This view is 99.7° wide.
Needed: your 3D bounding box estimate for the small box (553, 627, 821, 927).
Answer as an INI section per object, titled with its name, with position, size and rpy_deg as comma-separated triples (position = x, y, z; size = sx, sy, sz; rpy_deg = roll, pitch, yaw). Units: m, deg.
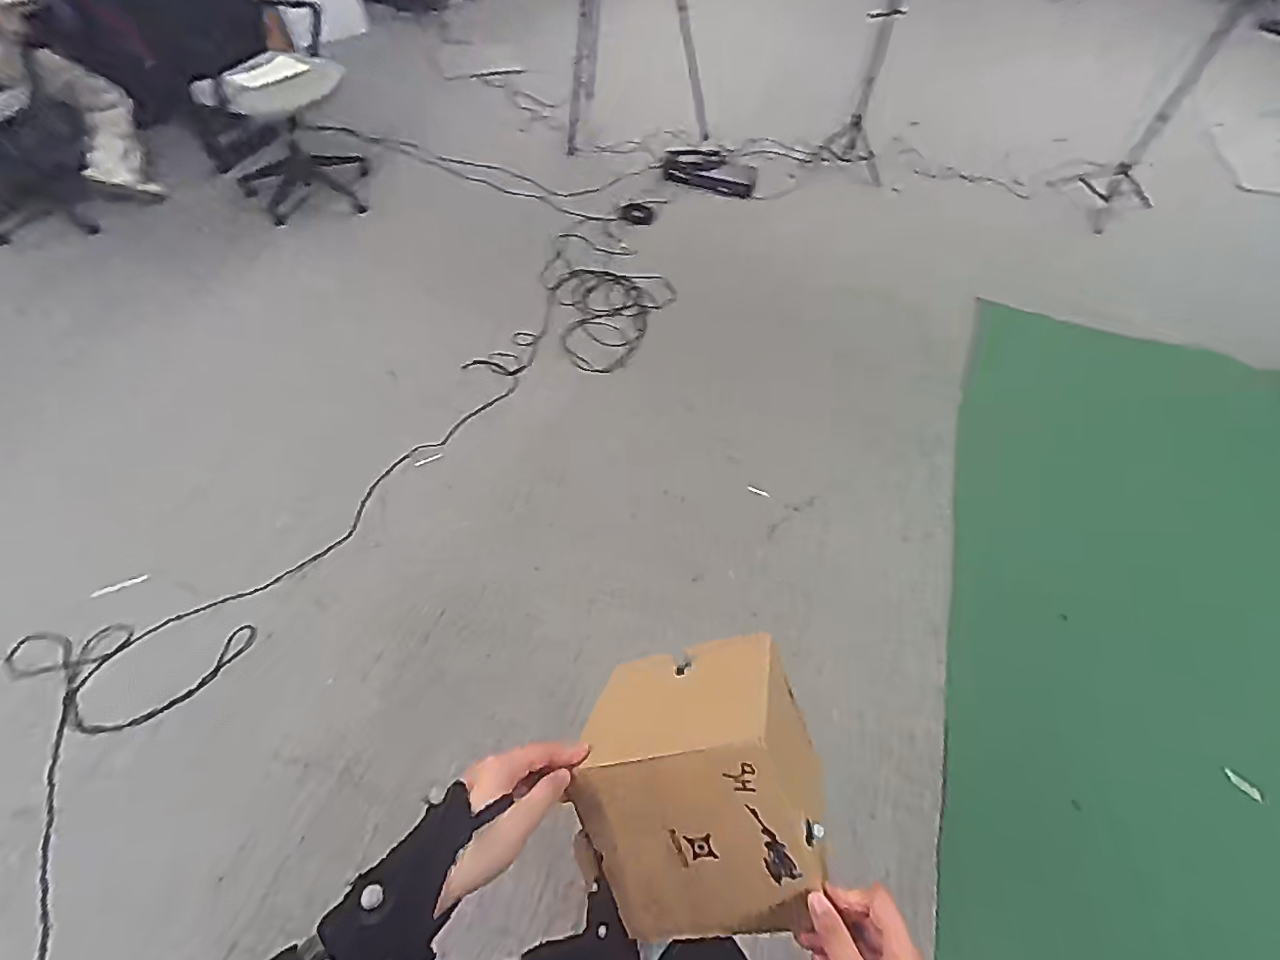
[small box]
position = 0.054, 0.259, 0.497
size = 0.179, 0.176, 0.168
rpy_deg = -19, 97, 19
